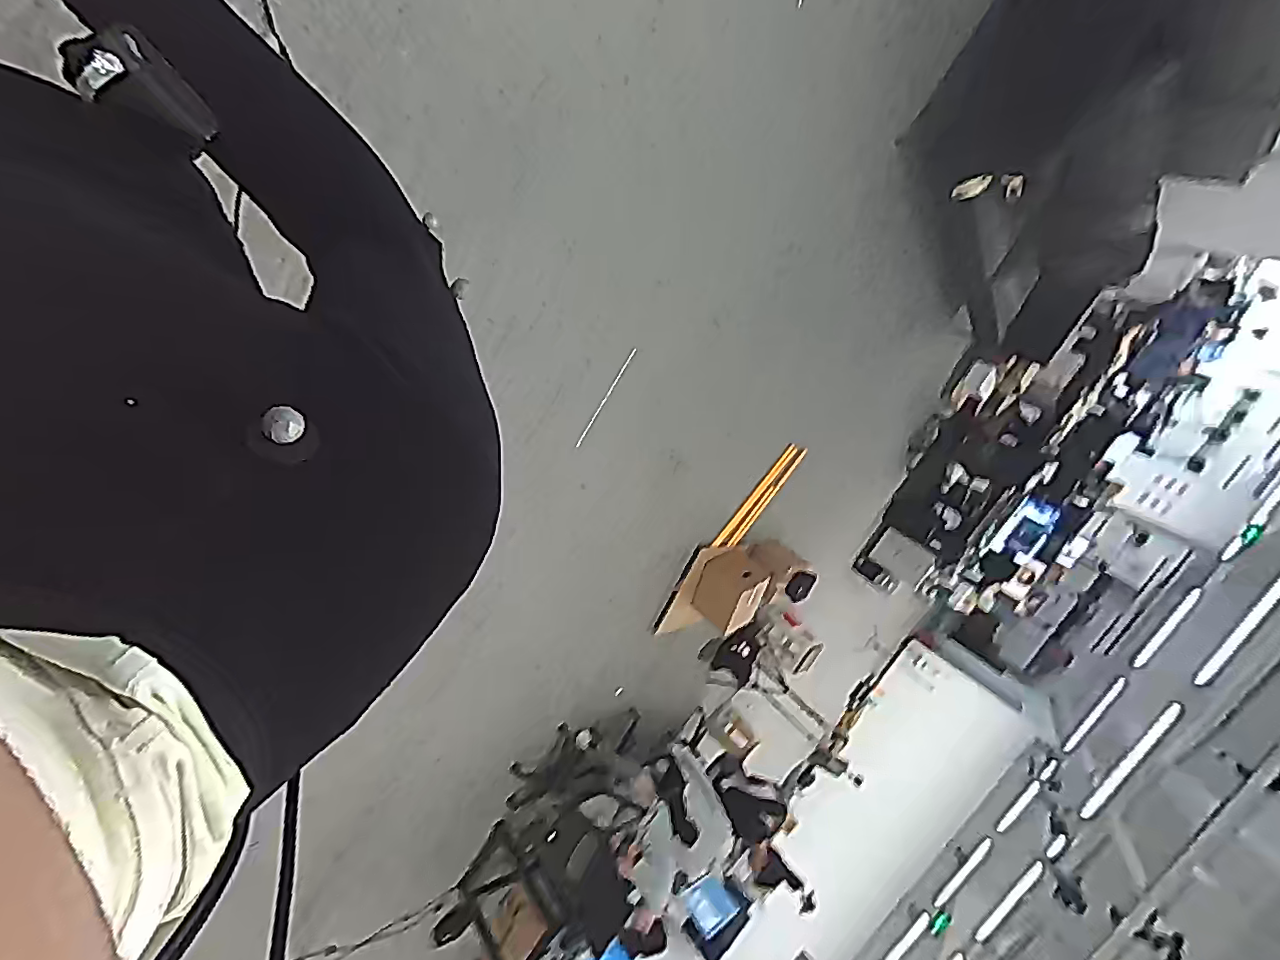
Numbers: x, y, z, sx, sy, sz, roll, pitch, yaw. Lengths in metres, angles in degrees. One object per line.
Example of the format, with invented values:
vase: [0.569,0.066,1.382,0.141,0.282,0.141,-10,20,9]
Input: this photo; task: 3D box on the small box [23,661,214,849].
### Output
small box: [-0.788,0.403,0.824,0.168,0.176,0.179,18,105,-52]

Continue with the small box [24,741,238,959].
small box: [-0.681,0.477,0.724,0.168,0.176,0.179,18,108,-52]
